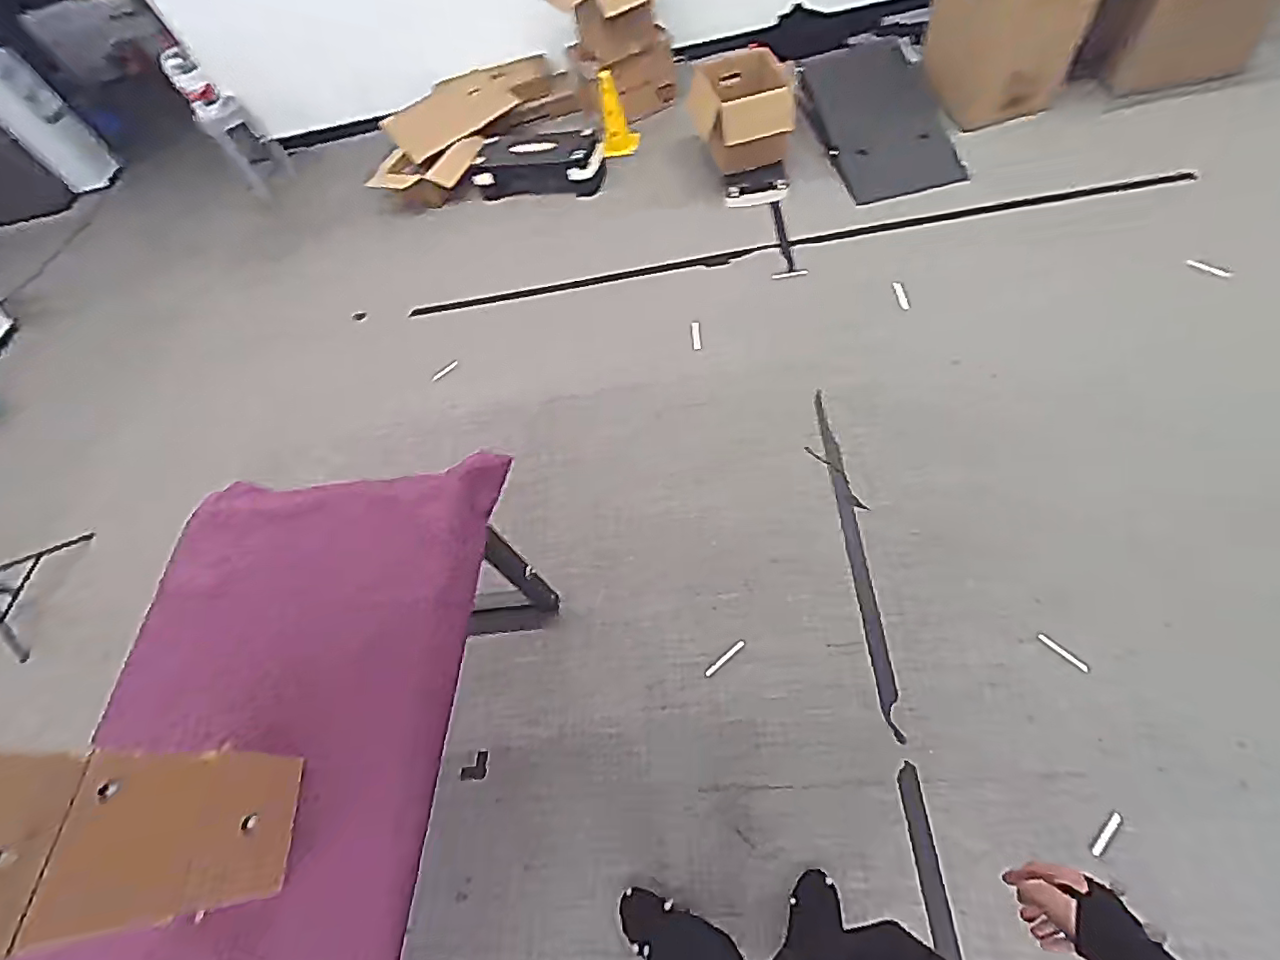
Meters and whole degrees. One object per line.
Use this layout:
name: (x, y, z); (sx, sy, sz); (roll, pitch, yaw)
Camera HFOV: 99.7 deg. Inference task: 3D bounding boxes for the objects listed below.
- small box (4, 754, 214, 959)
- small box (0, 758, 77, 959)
small box: (-0.643, 0.419, 0.615); (0.168, 0.176, 0.179); (-9, 58, 7)
small box: (-0.671, 0.343, 0.472); (0.168, 0.176, 0.179); (-9, 57, 8)
